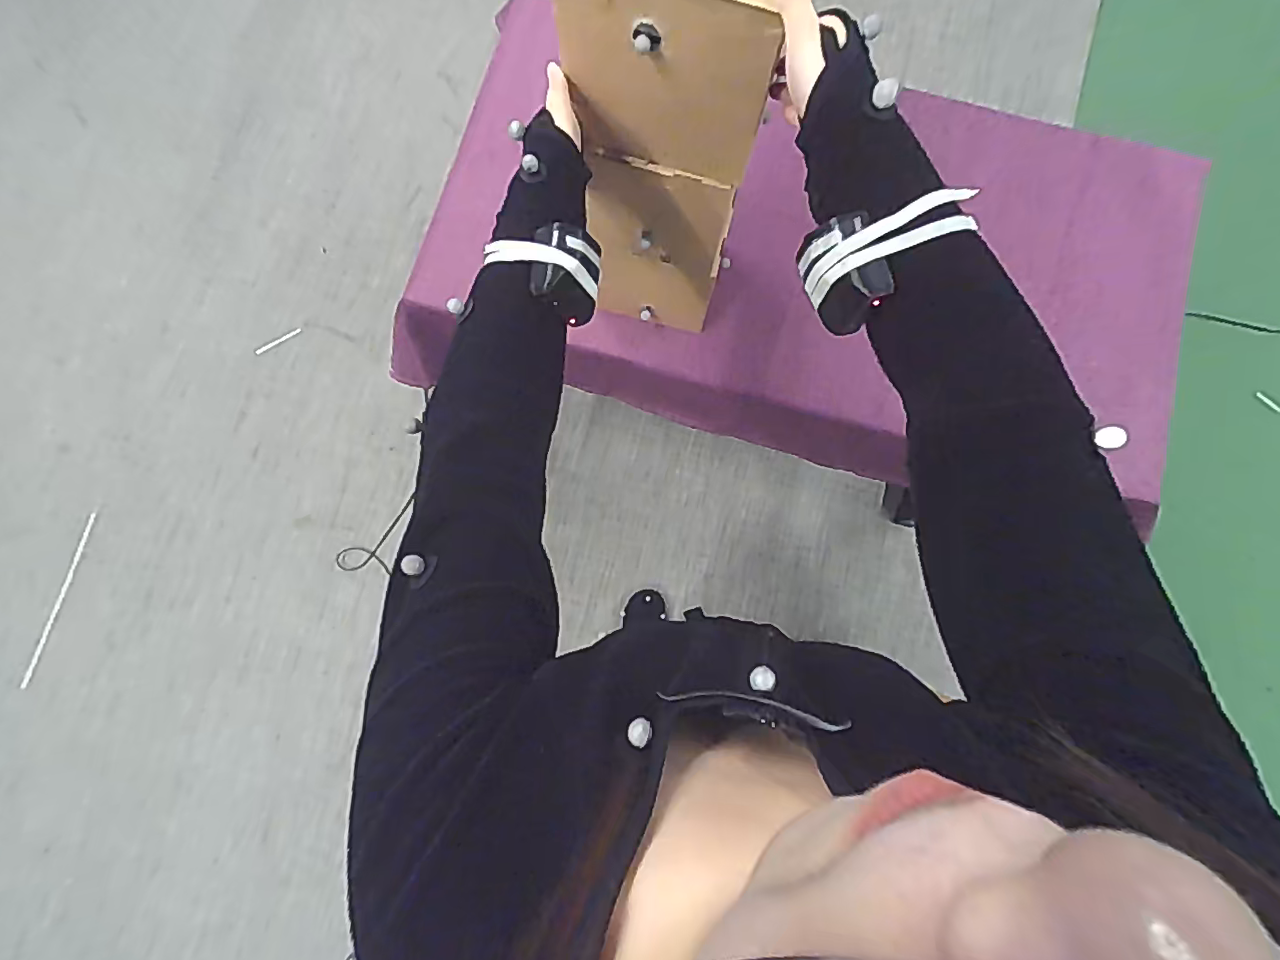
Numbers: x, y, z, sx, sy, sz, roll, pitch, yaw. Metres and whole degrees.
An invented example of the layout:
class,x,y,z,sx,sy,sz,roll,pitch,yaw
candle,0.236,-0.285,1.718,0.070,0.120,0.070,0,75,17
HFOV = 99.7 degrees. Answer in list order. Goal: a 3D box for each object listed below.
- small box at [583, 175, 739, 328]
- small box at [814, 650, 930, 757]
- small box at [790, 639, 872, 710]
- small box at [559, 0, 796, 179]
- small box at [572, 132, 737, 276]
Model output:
class,x,y,z,sx,sy,sz,roll,pitch,yaw
small box,0.027,-0.342,0.789,0.179,0.176,0.168,14,80,1
small box,0.520,0.499,1.237,0.179,0.176,0.168,17,82,1
small box,0.510,0.520,1.399,0.179,0.176,0.168,20,81,1
small box,0.036,-0.399,0.464,0.179,0.176,0.168,17,81,2
small box,0.030,-0.373,0.627,0.168,0.176,0.179,16,81,3
